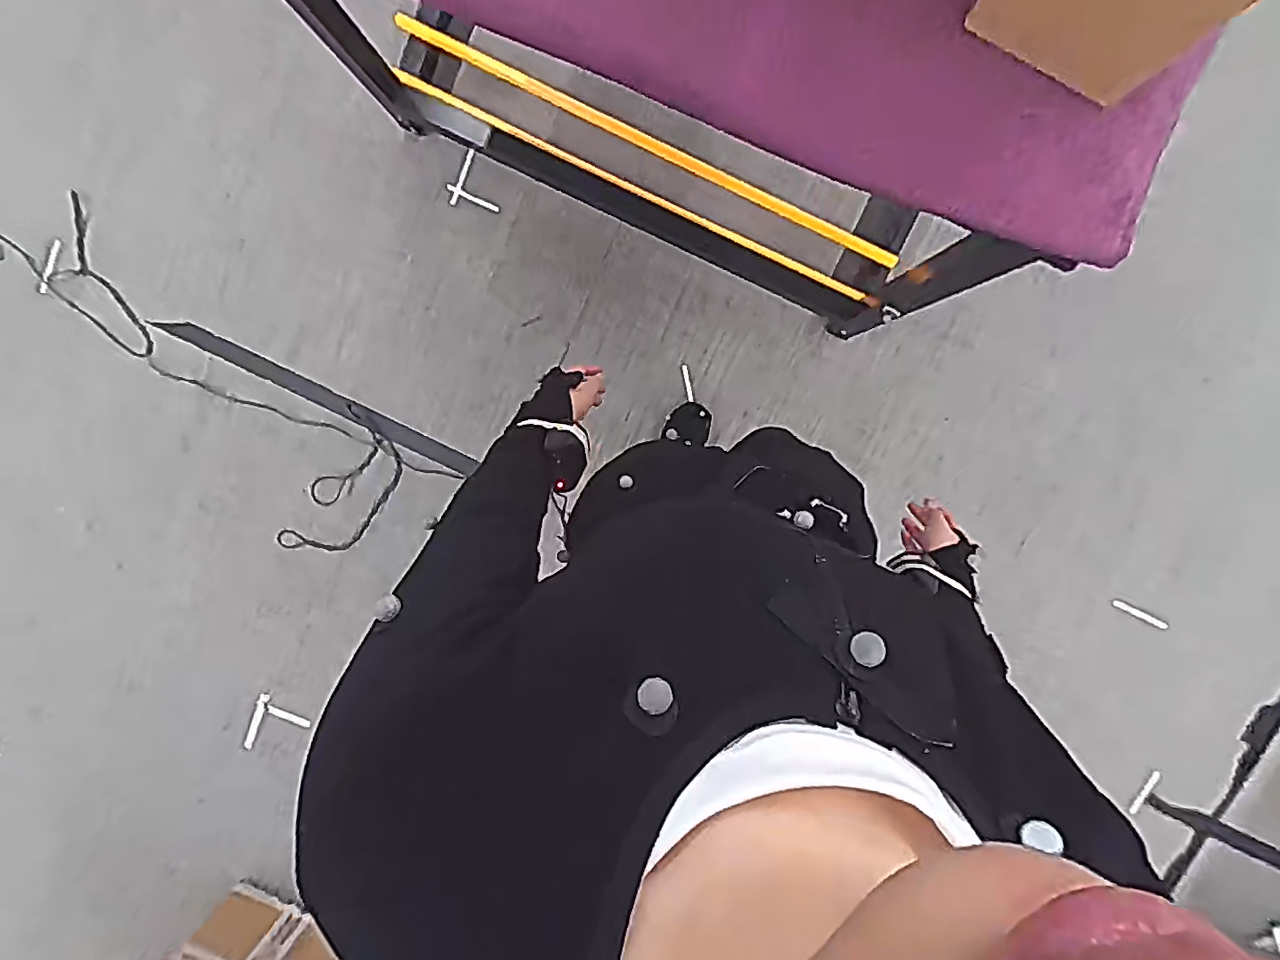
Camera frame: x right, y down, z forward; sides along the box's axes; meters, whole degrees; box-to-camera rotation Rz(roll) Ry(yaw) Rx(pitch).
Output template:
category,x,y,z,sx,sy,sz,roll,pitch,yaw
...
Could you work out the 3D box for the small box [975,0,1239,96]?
category,x,y,z,sx,sy,sz,roll,pitch,yaw
small box,0.448,-0.493,0.476,0.179,0.176,0.168,28,96,-2
